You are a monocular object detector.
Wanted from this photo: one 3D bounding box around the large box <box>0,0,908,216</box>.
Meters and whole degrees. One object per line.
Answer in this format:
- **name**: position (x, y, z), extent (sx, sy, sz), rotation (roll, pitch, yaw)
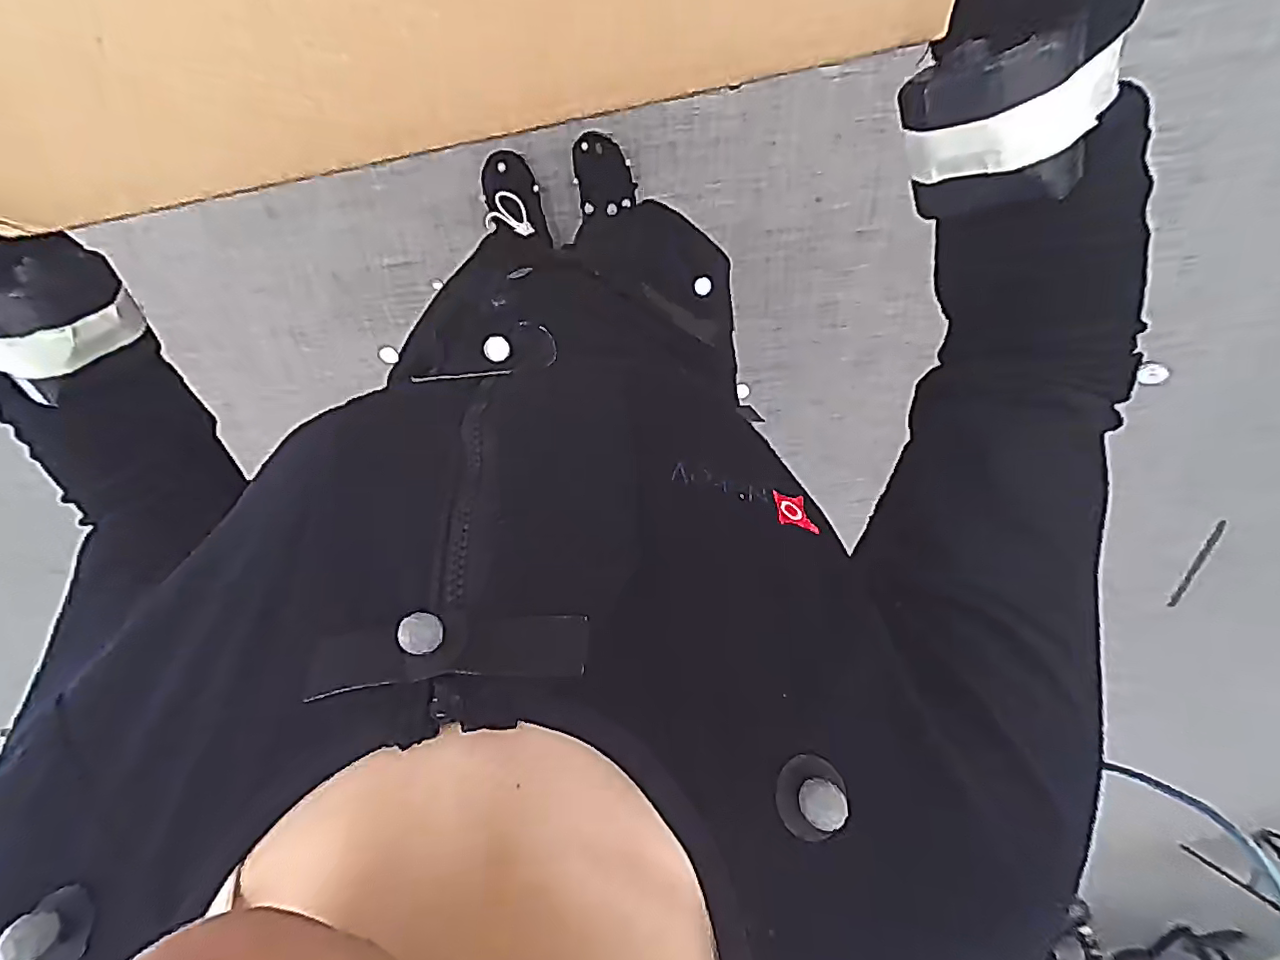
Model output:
- **large box**: position (-0.119, -0.361, 0.209), extent (0.408, 0.320, 0.320), rotation (-9, 139, 4)
